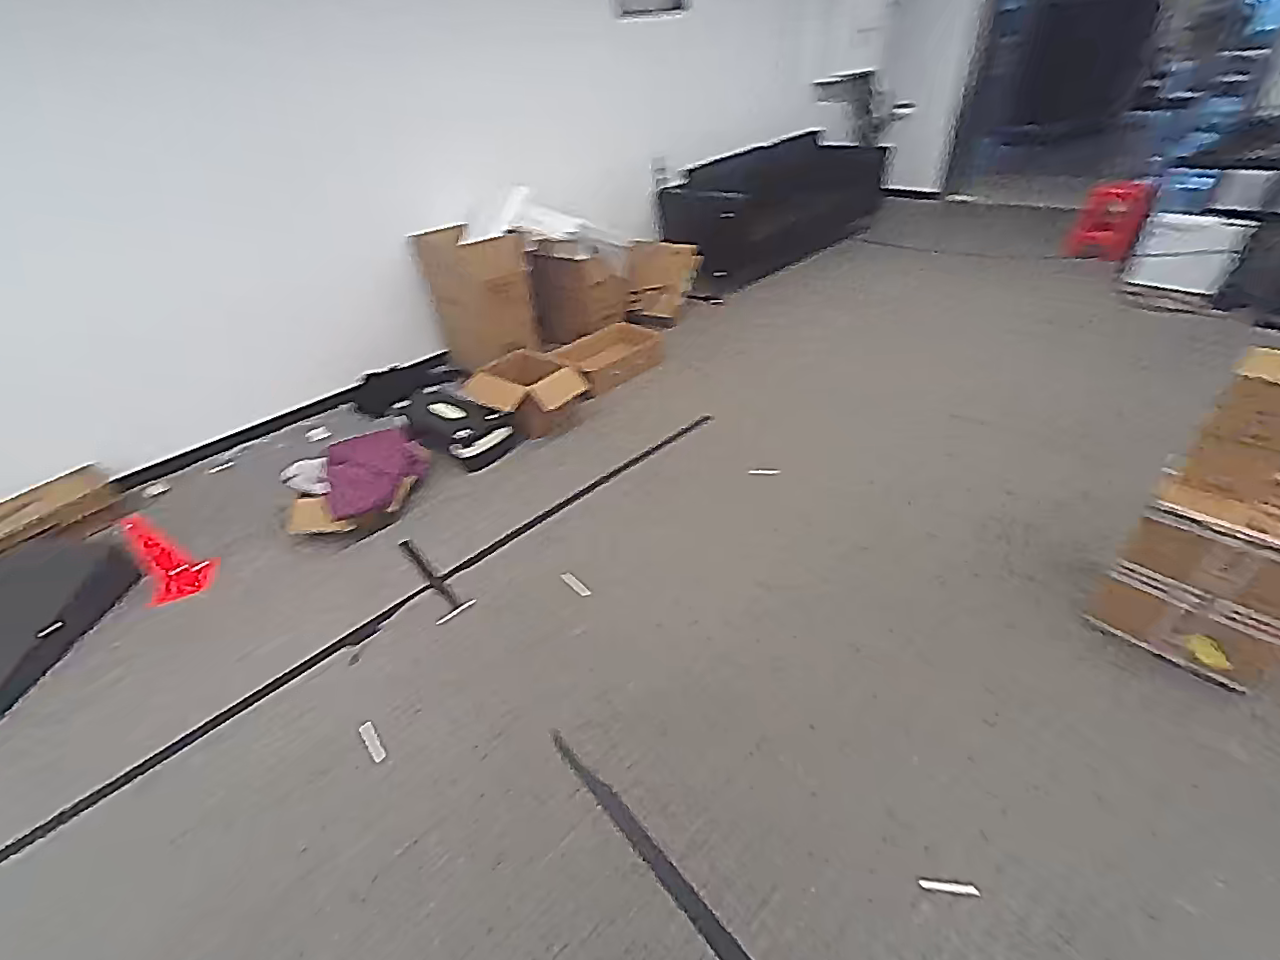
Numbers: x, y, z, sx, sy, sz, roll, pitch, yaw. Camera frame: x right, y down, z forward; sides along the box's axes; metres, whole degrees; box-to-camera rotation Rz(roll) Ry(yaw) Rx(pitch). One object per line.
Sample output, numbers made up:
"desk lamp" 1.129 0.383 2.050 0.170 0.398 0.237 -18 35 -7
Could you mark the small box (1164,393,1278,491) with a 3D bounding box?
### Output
"small box" 1.546 -0.102 1.436 0.179 0.176 0.168 -36 44 -29
